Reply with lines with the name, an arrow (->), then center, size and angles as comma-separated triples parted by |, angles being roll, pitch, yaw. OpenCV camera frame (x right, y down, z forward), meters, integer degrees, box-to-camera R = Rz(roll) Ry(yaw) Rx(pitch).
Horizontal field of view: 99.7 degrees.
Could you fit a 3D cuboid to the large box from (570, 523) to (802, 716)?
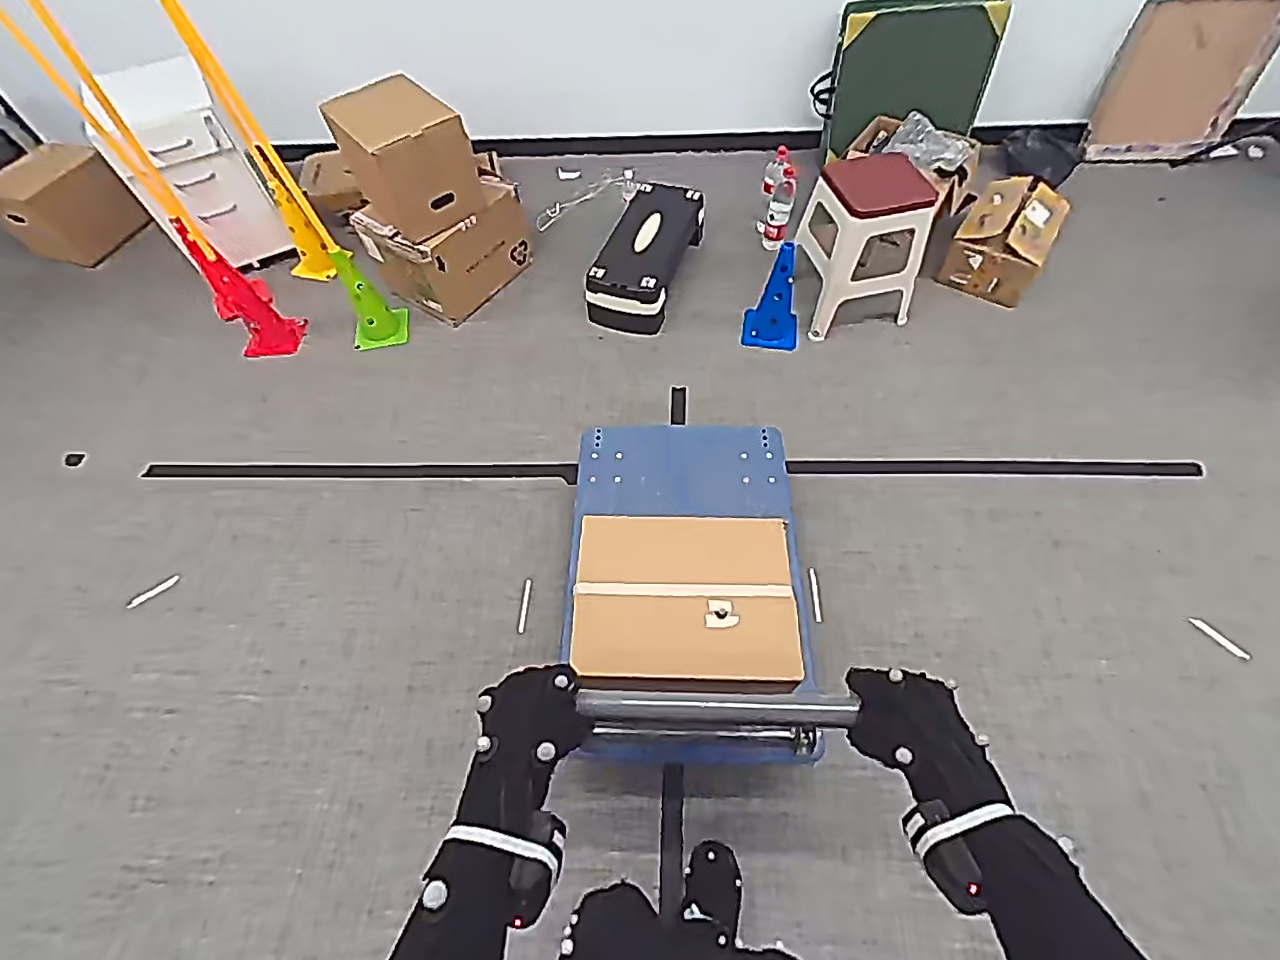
large box -> 0.079, 0.297, 1.119 | 0.408, 0.320, 0.320 | 1, 58, 1
